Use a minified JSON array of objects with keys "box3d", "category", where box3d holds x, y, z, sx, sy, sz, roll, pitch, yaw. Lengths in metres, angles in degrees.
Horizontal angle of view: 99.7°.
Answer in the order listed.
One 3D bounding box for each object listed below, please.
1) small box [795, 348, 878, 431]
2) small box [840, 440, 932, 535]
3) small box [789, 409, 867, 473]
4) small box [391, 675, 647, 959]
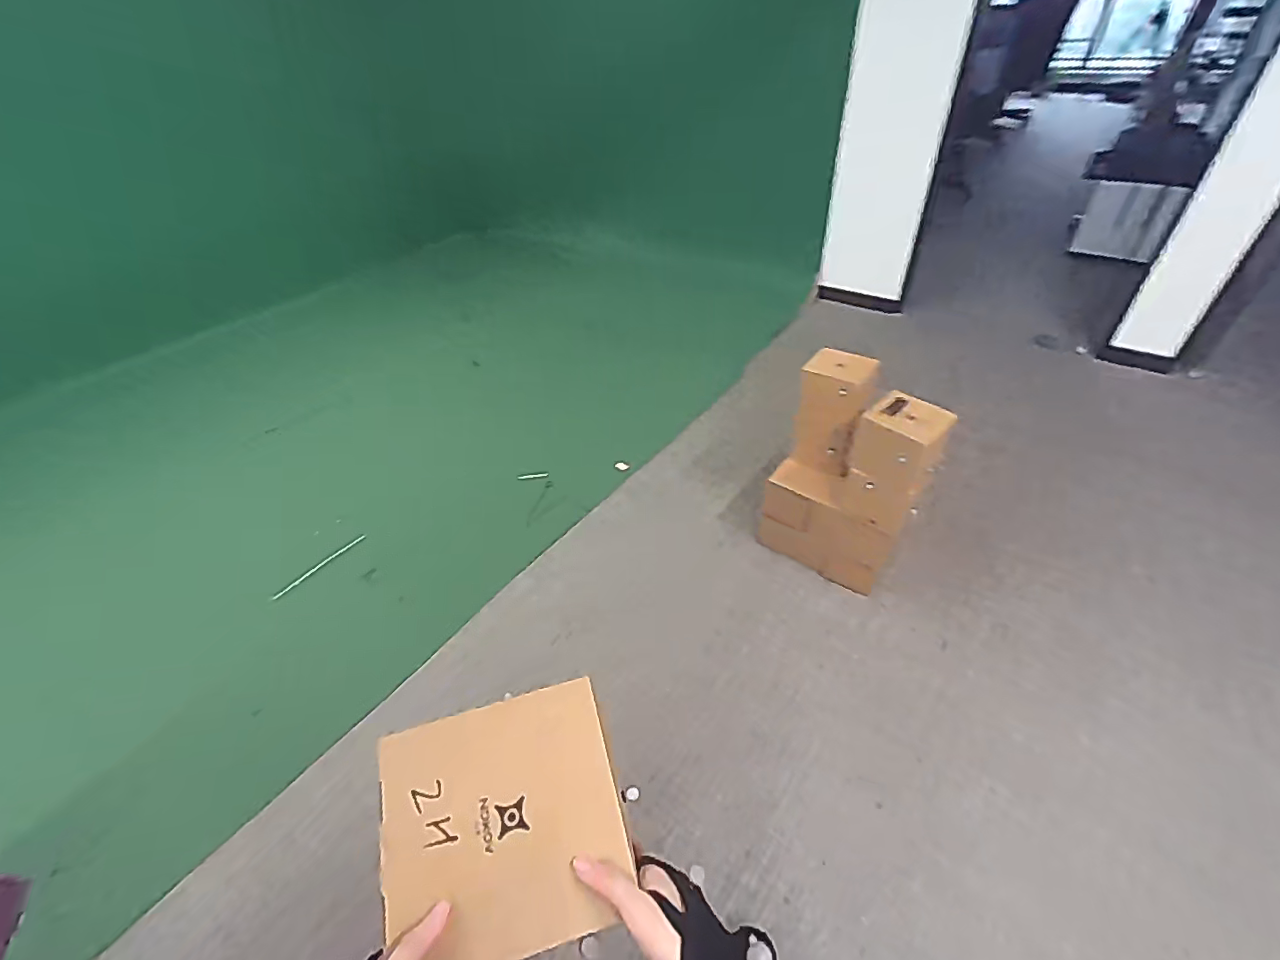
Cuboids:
[{"box3d":[0.585,-0.272,1.630,0.179,0.176,0.168,25,48,28],"category":"small box"},{"box3d":[0.691,0.021,1.537,0.168,0.176,0.179,30,52,31],"category":"small box"},{"box3d":[0.597,-0.146,1.733,0.179,0.176,0.168,23,47,29],"category":"small box"},{"box3d":[-0.097,0.291,0.473,0.179,0.176,0.168,-13,57,-7],"category":"small box"}]
